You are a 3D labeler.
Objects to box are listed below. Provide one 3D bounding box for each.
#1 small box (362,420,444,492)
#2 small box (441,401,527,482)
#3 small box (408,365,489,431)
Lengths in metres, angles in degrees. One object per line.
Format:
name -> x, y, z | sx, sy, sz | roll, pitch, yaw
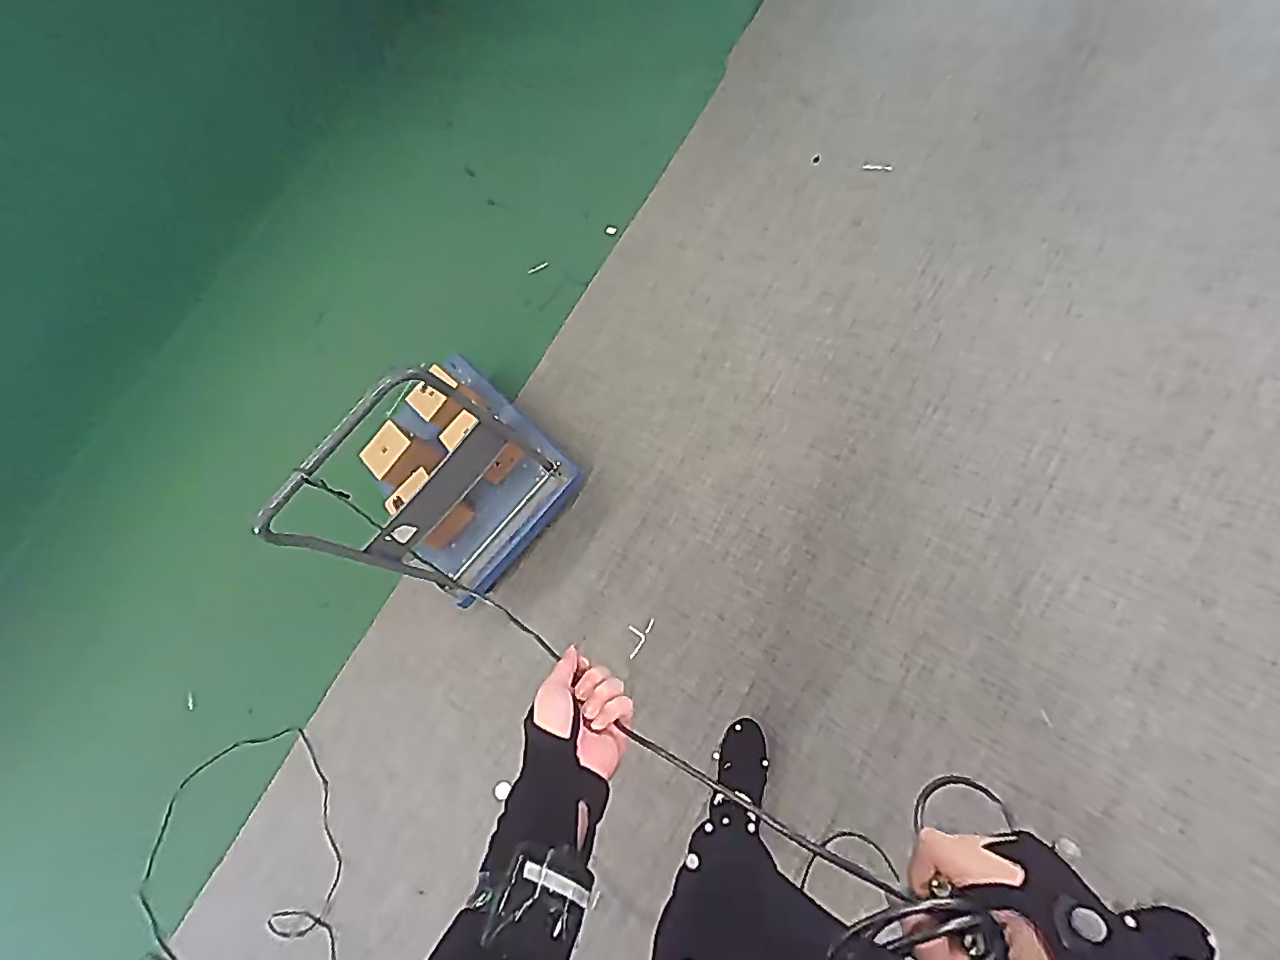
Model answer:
small box -> -0.834, -0.077, 1.915 | 0.179, 0.176, 0.168 | 38, 87, 33
small box -> -0.508, -0.120, 1.777 | 0.168, 0.176, 0.179 | -47, 57, 1
small box -> -0.677, -0.273, 1.923 | 0.179, 0.176, 0.168 | 38, 89, 32
